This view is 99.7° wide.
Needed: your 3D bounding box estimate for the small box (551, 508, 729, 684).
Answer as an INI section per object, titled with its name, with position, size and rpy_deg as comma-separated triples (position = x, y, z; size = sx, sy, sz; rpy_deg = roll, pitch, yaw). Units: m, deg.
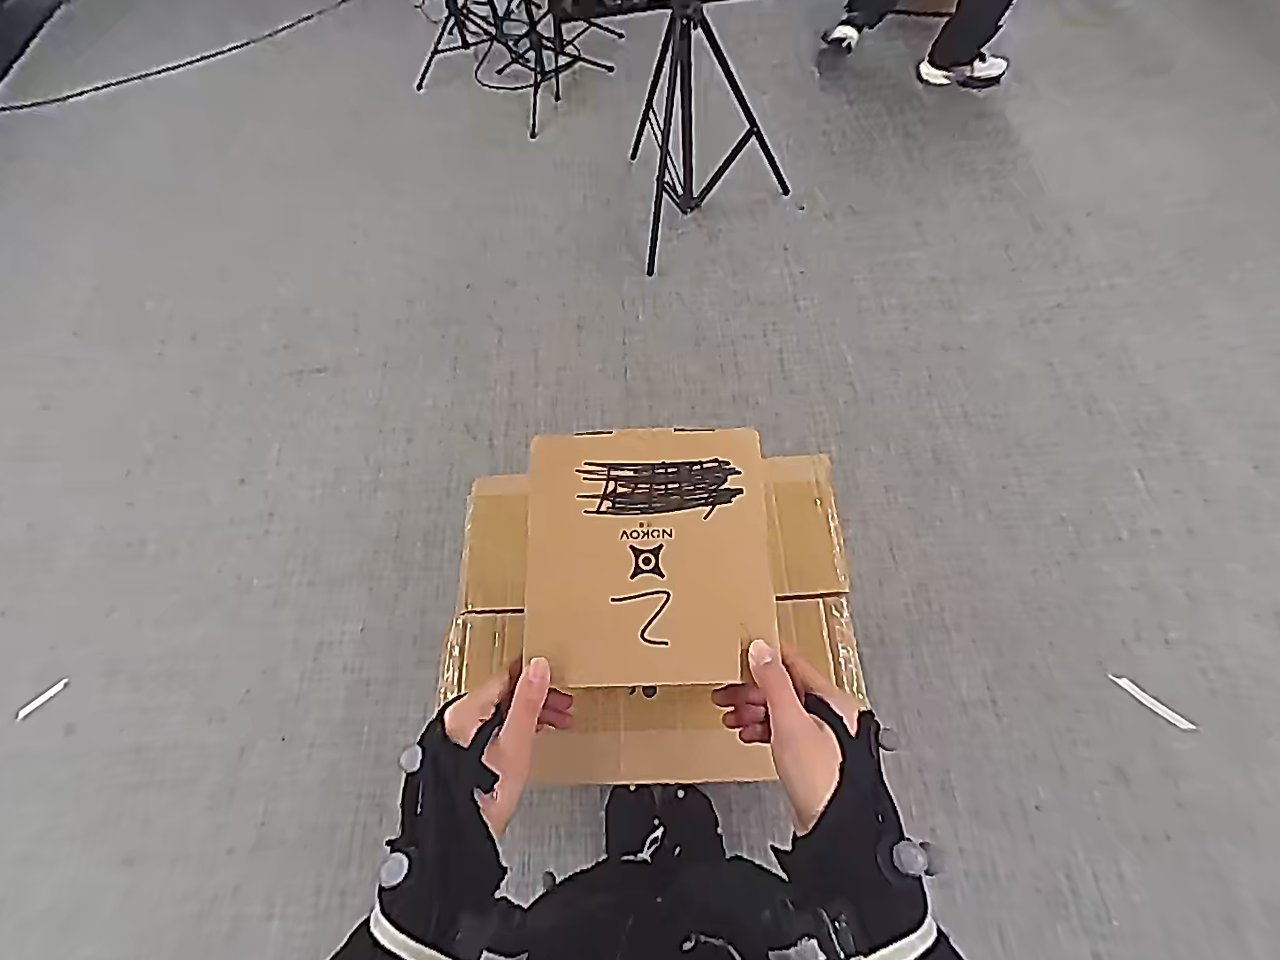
[small box]
position = 0.007, 0.140, 0.621
size = 0.179, 0.176, 0.168
rpy_deg = -2, 65, 5
